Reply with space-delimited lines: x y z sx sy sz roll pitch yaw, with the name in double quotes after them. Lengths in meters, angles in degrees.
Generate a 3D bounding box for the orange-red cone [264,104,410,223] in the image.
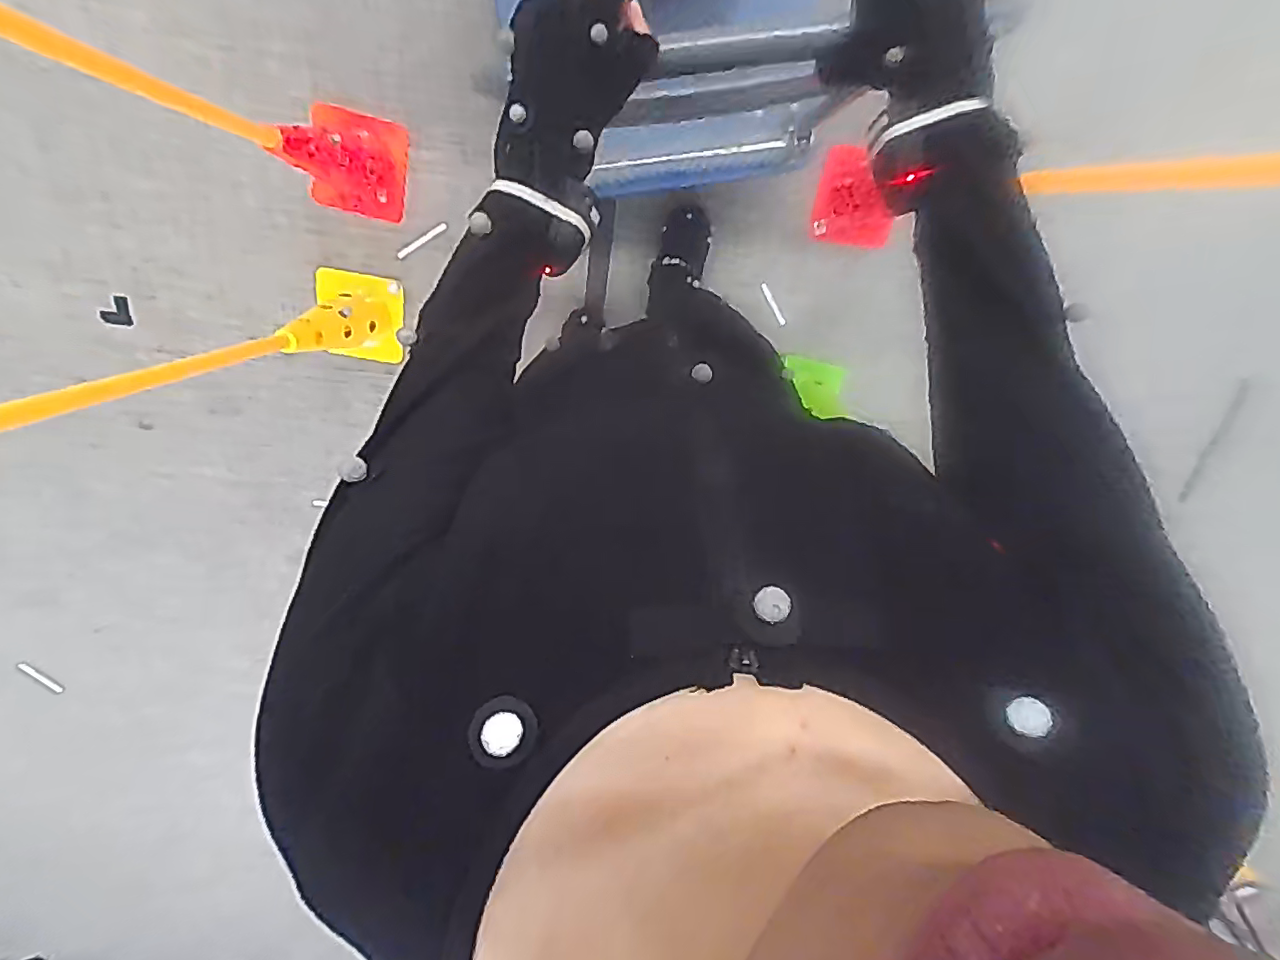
-0.605 -0.627 1.036 0.198 0.360 0.199 12 111 -9 "orange-red cone"

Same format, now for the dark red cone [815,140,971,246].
0.527 -0.592 1.095 0.201 0.394 0.202 5 114 -7 "dark red cone"

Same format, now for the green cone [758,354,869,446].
0.444 -0.159 1.299 0.202 0.368 0.200 9 113 -8 "green cone"
